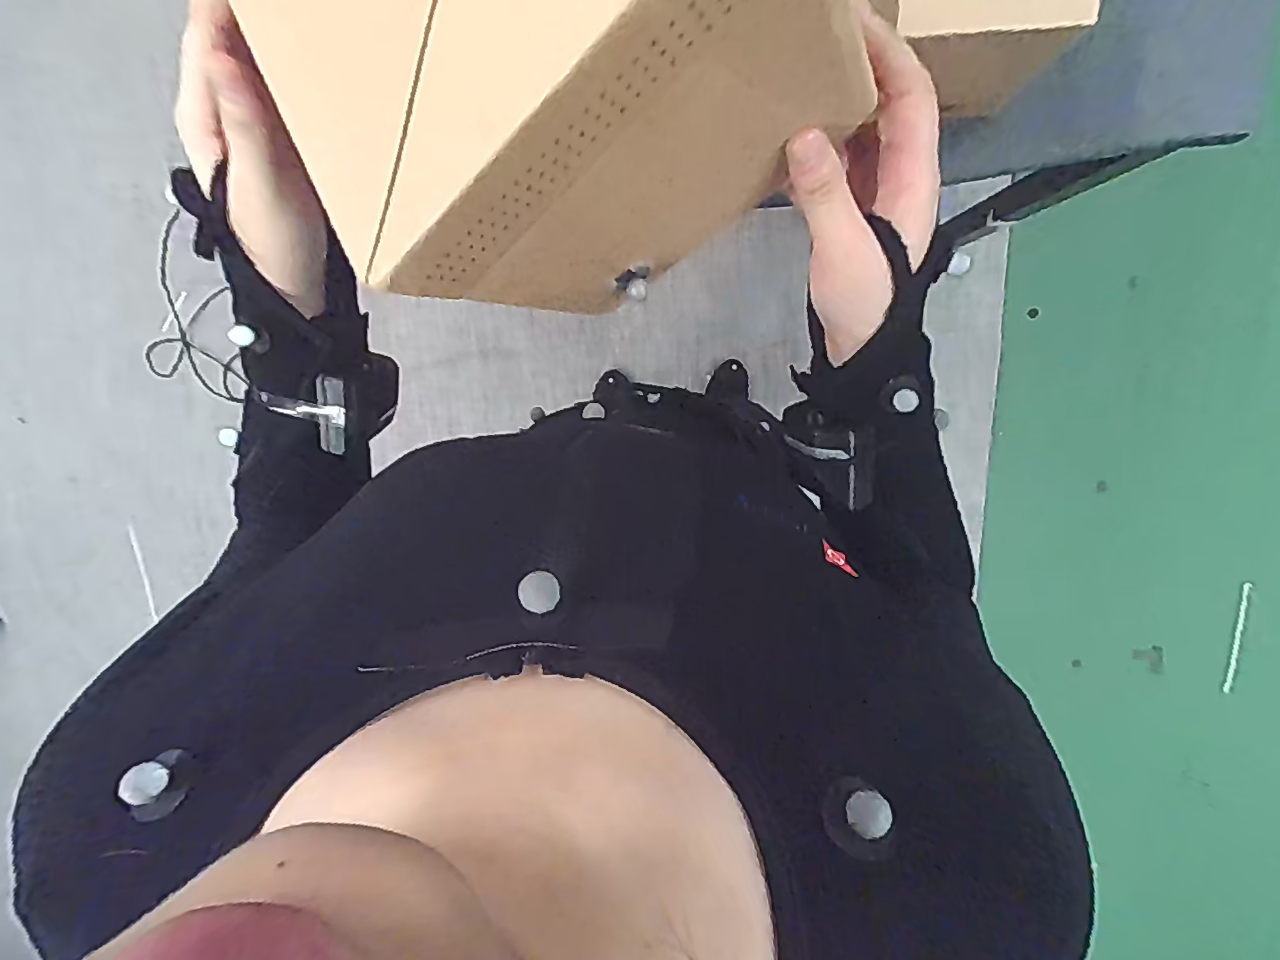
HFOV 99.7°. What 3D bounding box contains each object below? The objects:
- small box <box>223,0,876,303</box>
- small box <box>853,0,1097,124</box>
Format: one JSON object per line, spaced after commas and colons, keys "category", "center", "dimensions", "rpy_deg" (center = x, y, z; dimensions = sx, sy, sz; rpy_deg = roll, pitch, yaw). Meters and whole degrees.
{"category": "small box", "center": [-0.031, -0.191, 0.220], "dimensions": [0.179, 0.176, 0.168], "rpy_deg": [-25, 90, 31]}
{"category": "small box", "center": [0.311, -0.484, 0.529], "dimensions": [0.168, 0.176, 0.179], "rpy_deg": [1, 101, 6]}
